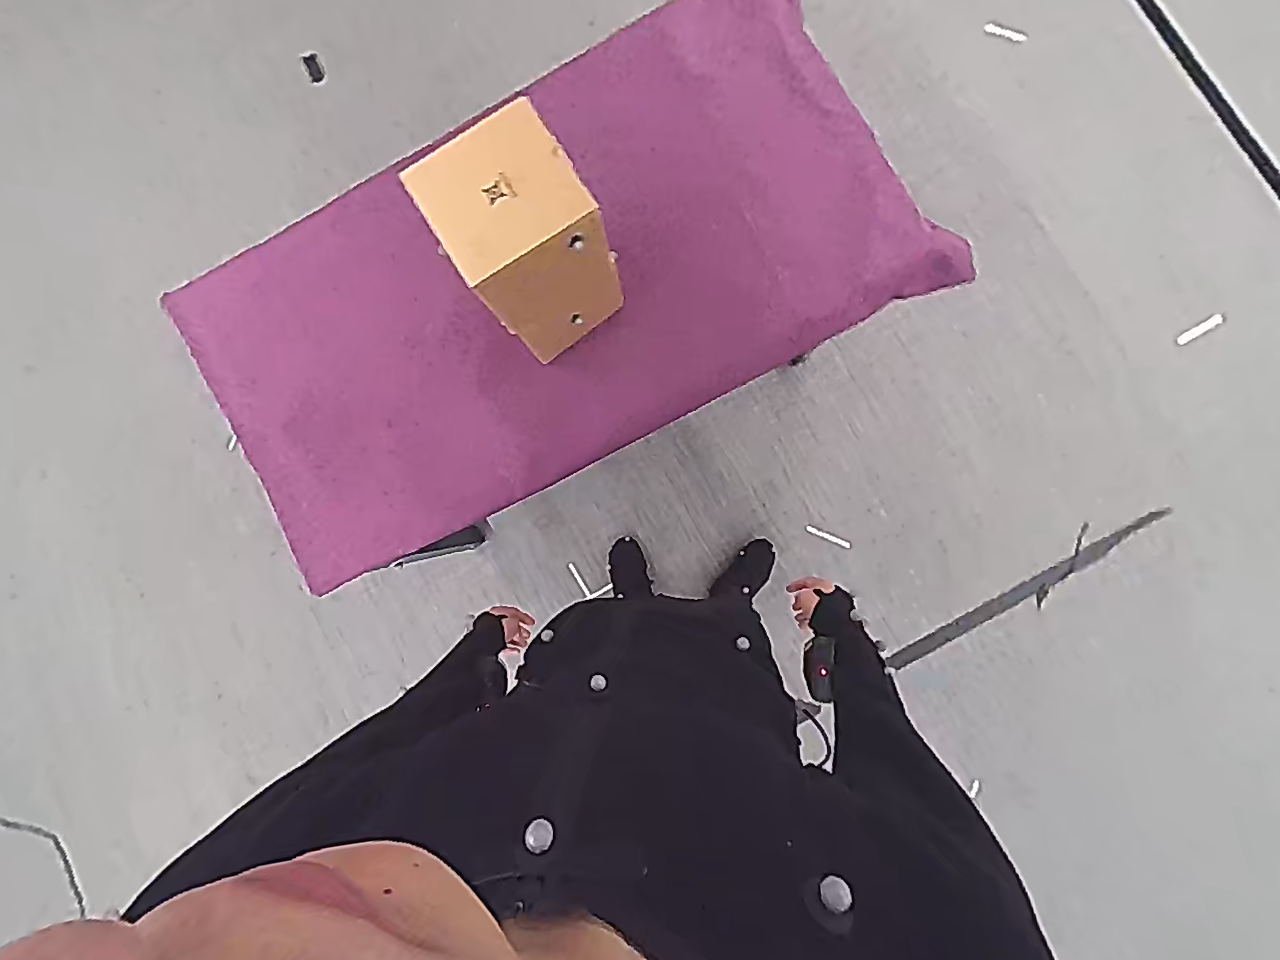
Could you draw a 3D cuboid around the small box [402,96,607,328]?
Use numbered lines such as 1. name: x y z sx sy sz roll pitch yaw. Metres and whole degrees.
1. small box: -0.160 -0.328 0.700 0.179 0.176 0.168 -33 86 0
